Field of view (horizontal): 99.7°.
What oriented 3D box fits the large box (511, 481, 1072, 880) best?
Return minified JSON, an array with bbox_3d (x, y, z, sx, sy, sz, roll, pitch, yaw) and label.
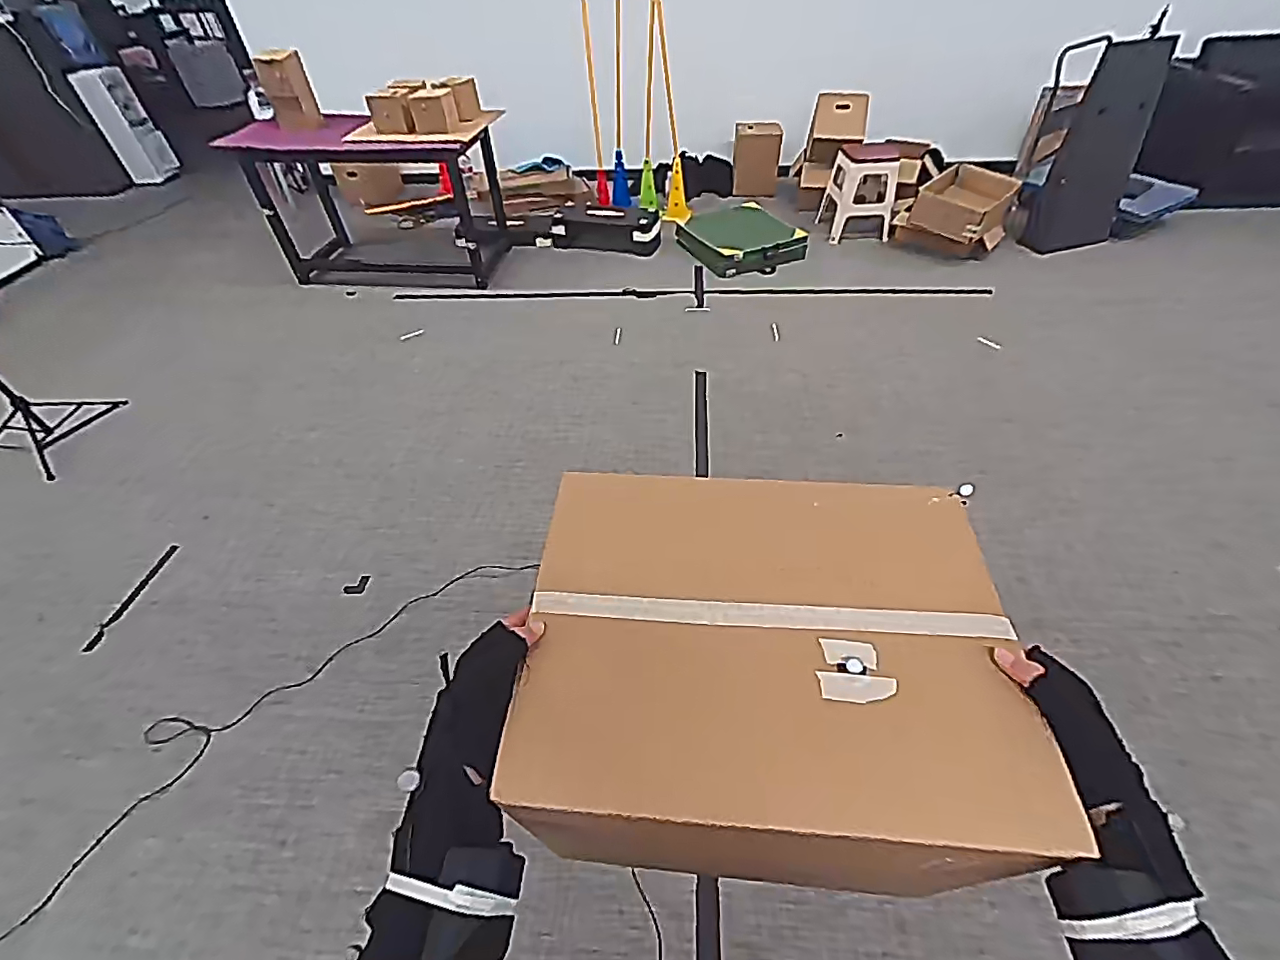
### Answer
[{"bbox_3d":[0.114,0.219,0.590,0.408,0.320,0.320,2,50,5],"label":"large box"}]
